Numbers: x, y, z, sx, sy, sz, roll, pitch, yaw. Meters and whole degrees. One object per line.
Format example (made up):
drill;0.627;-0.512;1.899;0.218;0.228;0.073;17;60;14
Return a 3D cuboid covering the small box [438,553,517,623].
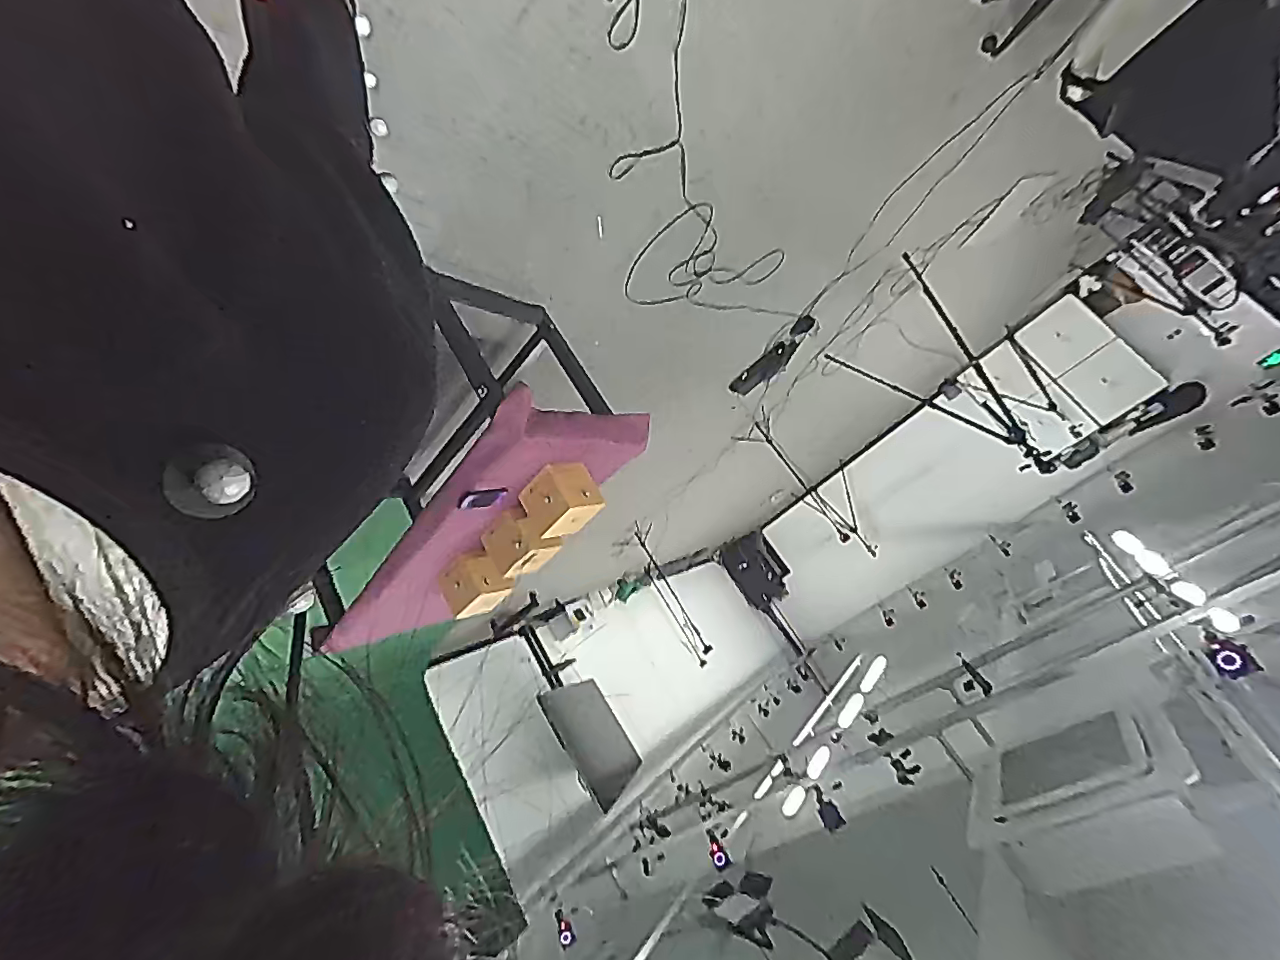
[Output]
small box;-0.583;0.379;1.924;0.168;0.176;0.179;-41;160;23

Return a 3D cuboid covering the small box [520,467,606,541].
small box;-0.249;0.070;1.714;0.168;0.176;0.179;-44;159;28
